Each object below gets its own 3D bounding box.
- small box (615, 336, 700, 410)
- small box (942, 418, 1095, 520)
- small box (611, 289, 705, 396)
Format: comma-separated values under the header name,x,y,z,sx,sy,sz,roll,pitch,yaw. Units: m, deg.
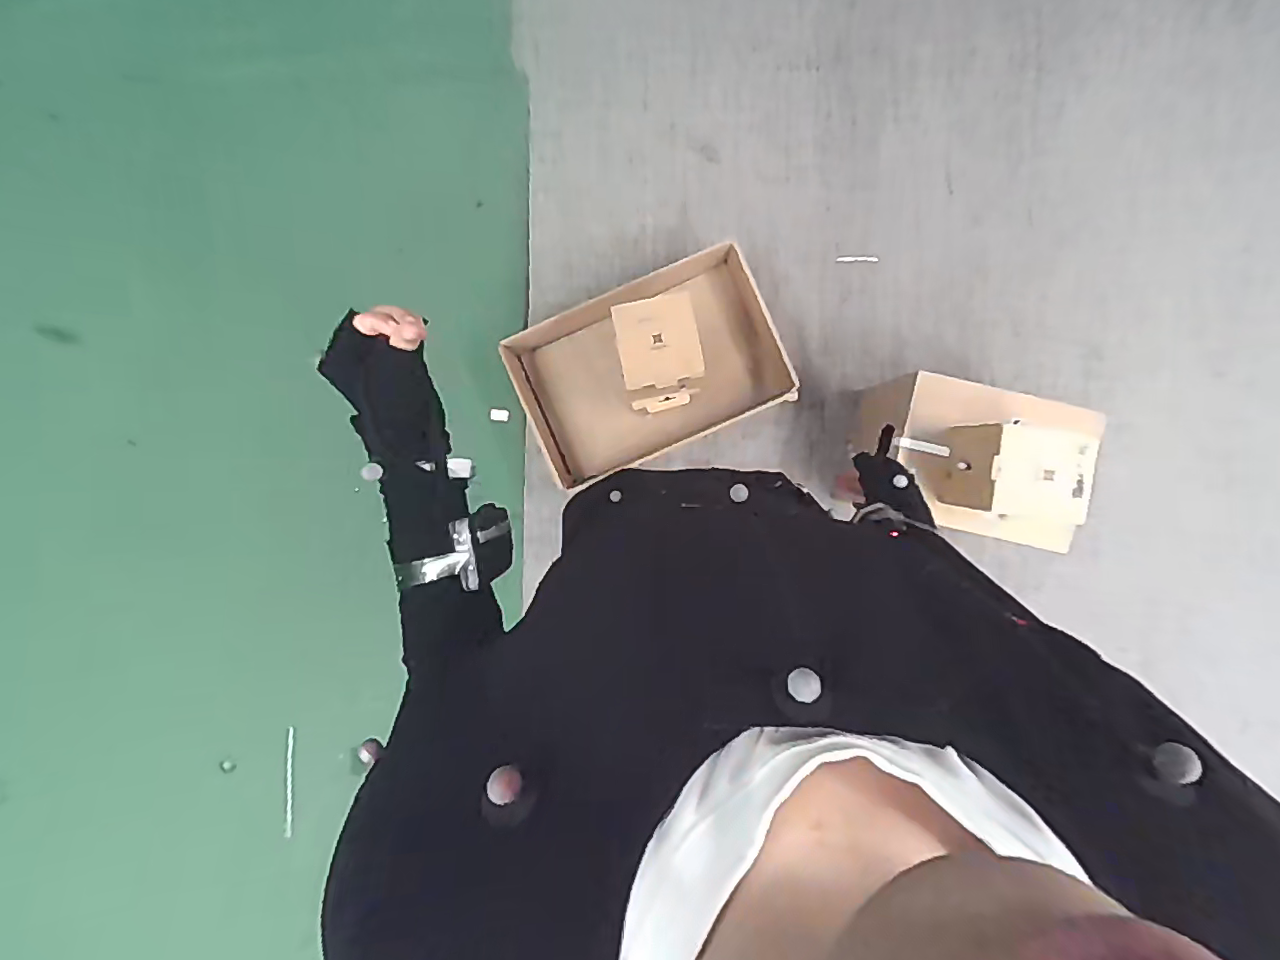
name,x,y,z,sx,sy,sz,roll,pitch,yaw
small box,0.047,-0.276,1.330,0.168,0.176,0.179,-15,90,3
small box,0.726,-0.023,1.057,0.179,0.176,0.168,8,93,2
small box,0.041,-0.286,1.168,0.168,0.176,0.179,-12,89,2
